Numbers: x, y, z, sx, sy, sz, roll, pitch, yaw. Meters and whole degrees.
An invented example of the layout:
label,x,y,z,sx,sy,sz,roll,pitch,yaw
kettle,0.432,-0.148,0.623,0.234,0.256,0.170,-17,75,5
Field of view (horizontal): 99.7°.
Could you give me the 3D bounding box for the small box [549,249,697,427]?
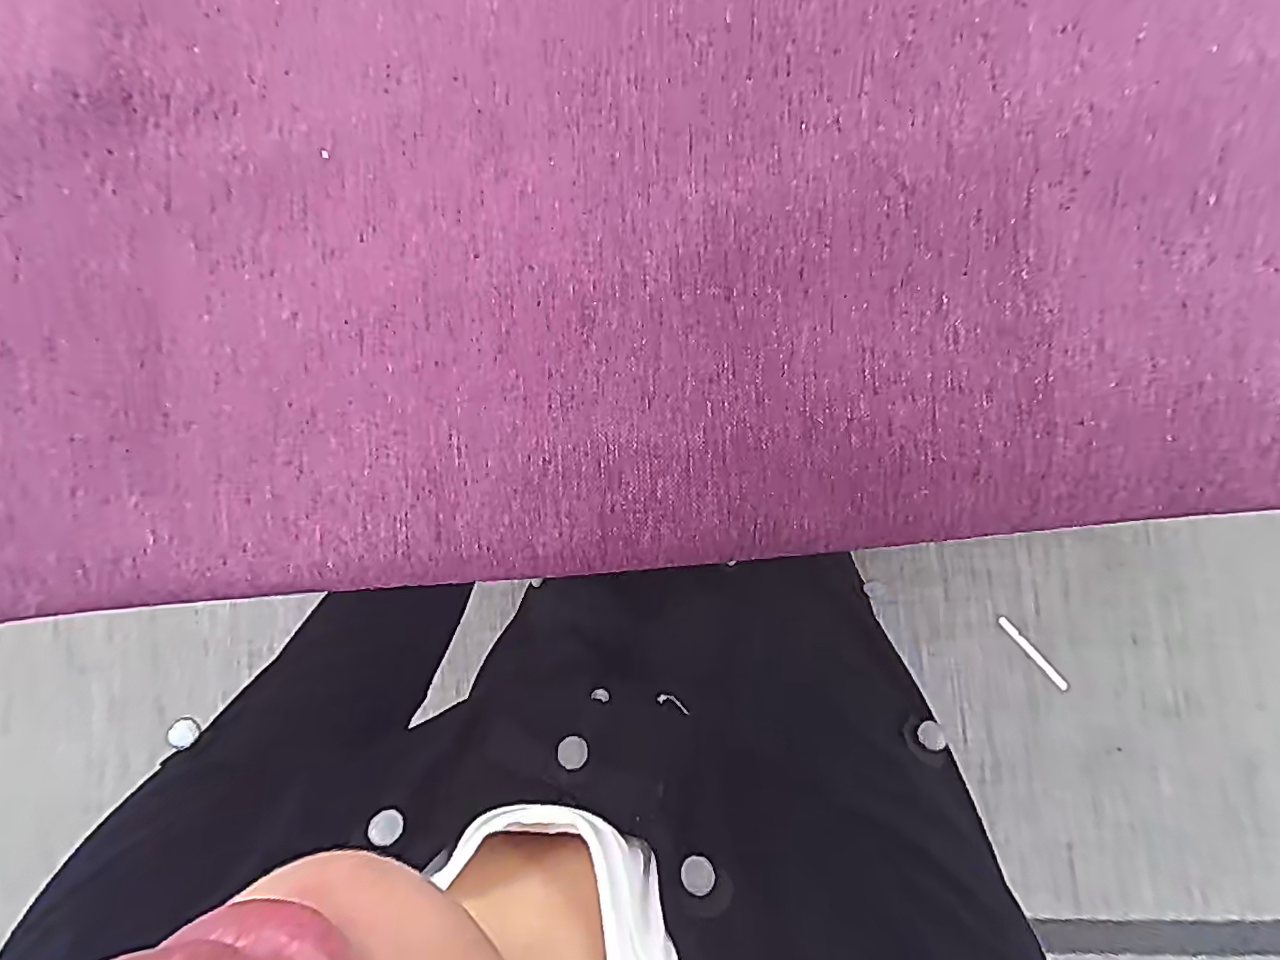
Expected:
label,x,y,z,sx,sy,sz,roll,pitch,yaw
small box,-0.017,-0.178,0.729,0.168,0.176,0.179,-7,86,4
